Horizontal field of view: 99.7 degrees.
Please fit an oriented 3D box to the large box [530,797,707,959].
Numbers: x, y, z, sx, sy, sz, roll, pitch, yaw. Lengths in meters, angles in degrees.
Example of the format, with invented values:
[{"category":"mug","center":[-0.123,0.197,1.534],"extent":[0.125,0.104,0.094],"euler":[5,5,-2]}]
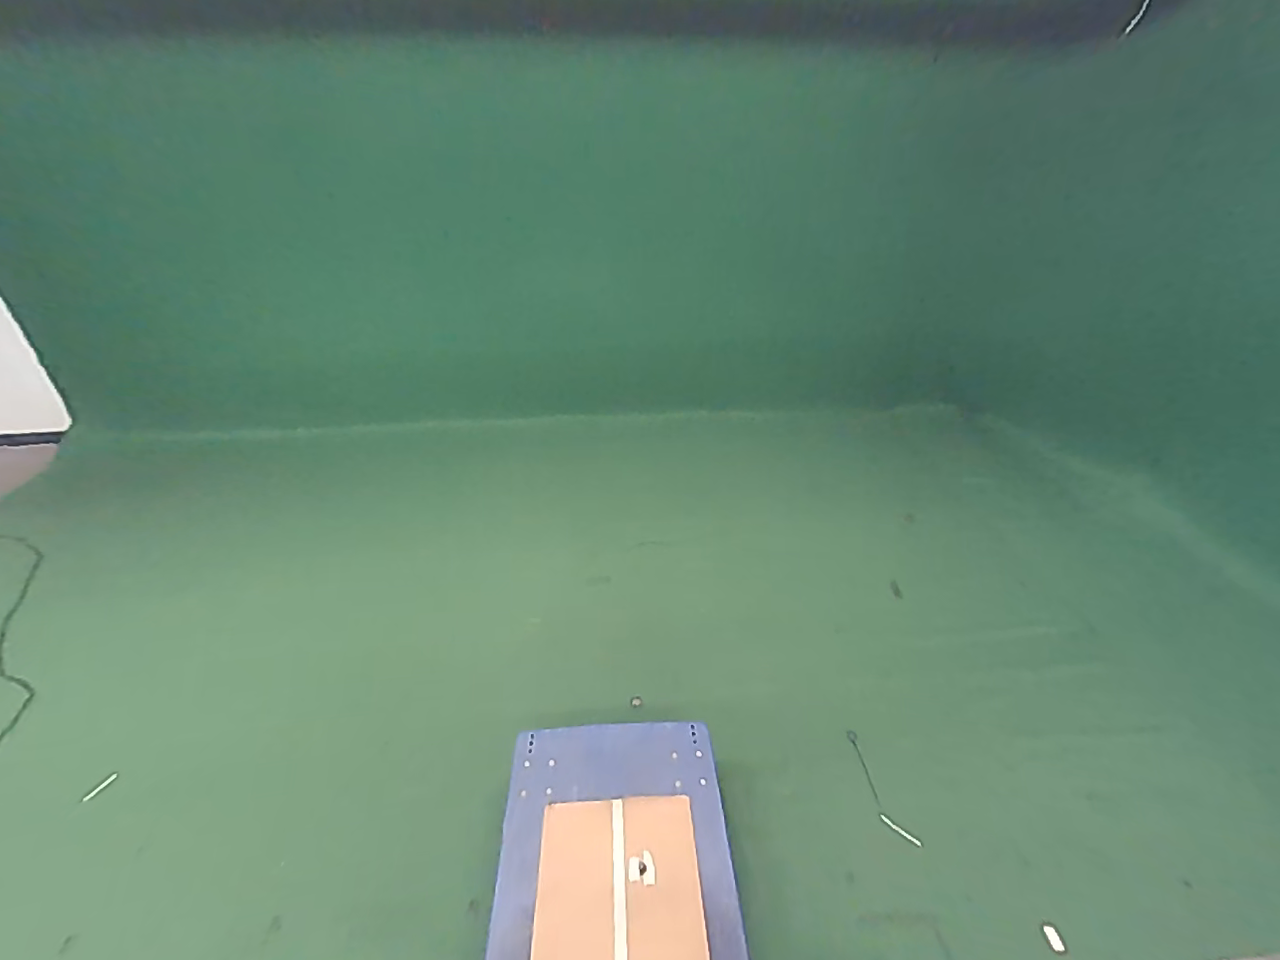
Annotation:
[{"category":"large box","center":[-0.039,0.929,1.081],"extent":[0.320,0.320,0.408],"euler":[-2,32,-2]}]
